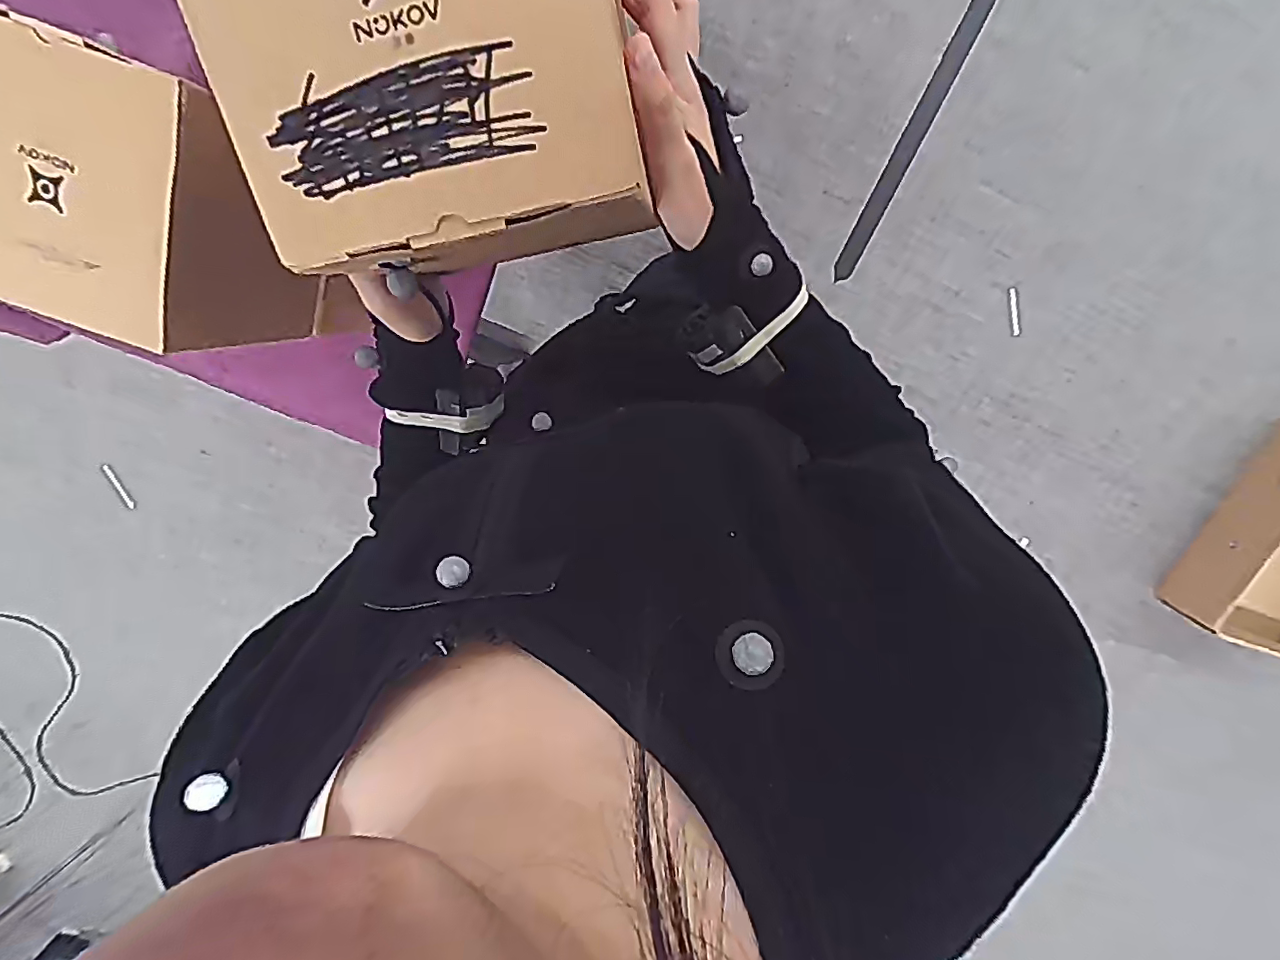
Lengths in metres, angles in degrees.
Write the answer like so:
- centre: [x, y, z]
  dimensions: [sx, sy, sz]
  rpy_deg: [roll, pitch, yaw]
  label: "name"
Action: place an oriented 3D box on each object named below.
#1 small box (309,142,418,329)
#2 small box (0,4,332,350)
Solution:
- centre: [-0.371, -0.272, 0.580]
  dimensions: [0.179, 0.176, 0.168]
  rpy_deg: [19, 108, -5]
  label: "small box"
- centre: [-0.376, -0.220, 0.426]
  dimensions: [0.168, 0.176, 0.179]
  rpy_deg: [19, 109, -3]
  label: "small box"
